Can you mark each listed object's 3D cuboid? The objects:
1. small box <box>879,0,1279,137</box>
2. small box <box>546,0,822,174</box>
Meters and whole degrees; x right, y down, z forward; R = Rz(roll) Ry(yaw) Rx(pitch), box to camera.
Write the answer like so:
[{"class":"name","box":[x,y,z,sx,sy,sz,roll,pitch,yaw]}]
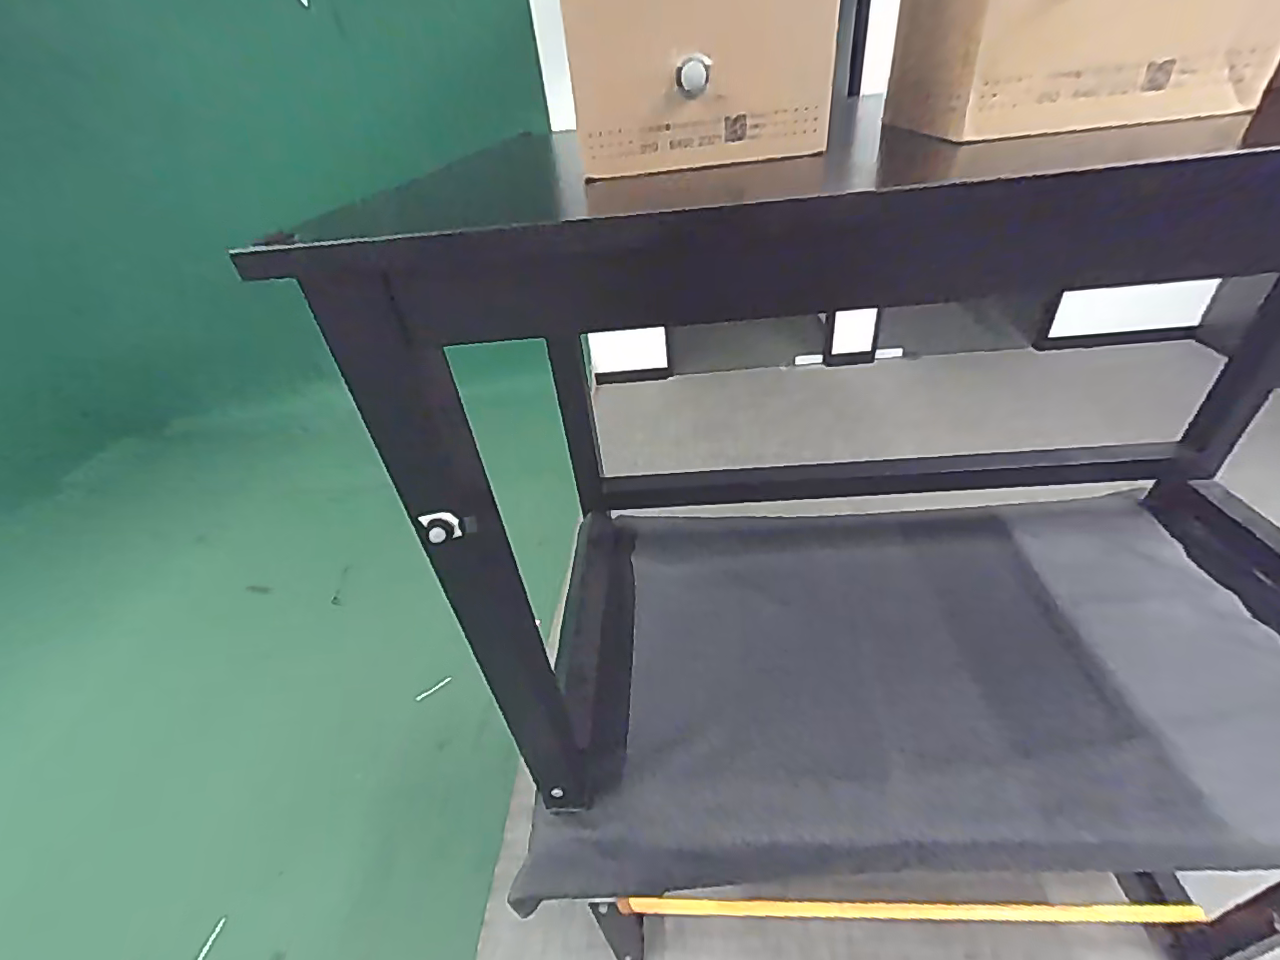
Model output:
[{"class":"small box","box":[0.267,-0.326,0.341,0.168,0.176,0.179,-2,37,8]},{"class":"small box","box":[0.025,-0.327,0.383,0.168,0.176,0.179,-6,37,3]}]
